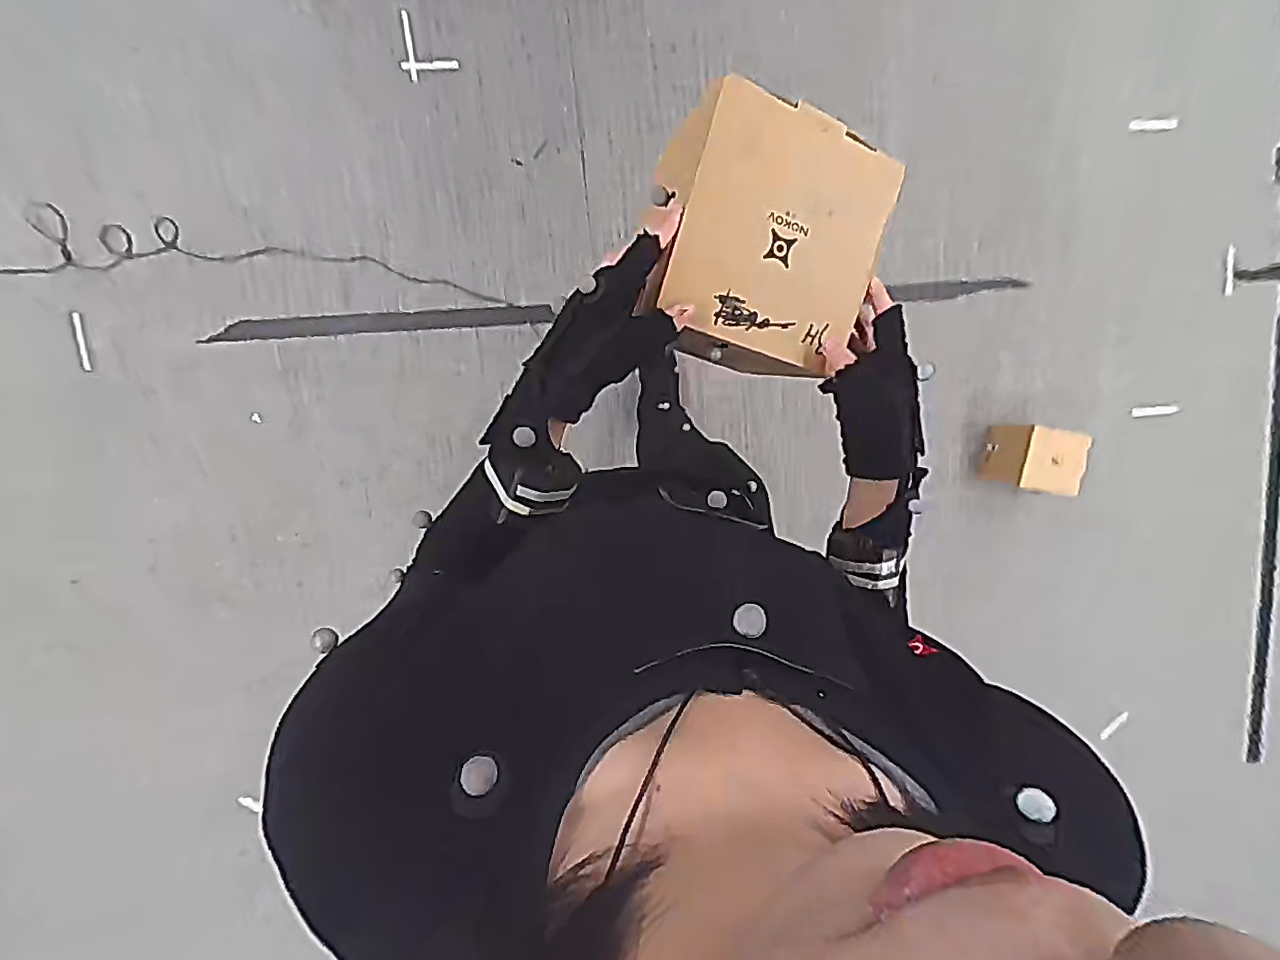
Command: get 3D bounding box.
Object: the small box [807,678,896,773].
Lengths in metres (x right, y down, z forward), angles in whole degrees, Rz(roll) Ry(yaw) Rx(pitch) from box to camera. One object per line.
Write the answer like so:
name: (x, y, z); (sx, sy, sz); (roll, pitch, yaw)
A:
small box: (0.603, 0.697, 1.564); (0.168, 0.176, 0.179); (-17, 99, -4)

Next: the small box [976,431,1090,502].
small box: (1.096, -0.044, 1.519); (0.179, 0.176, 0.168); (10, 95, -6)

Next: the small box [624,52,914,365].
small box: (0.096, -0.211, 0.482); (0.168, 0.176, 0.179); (14, 97, -18)
